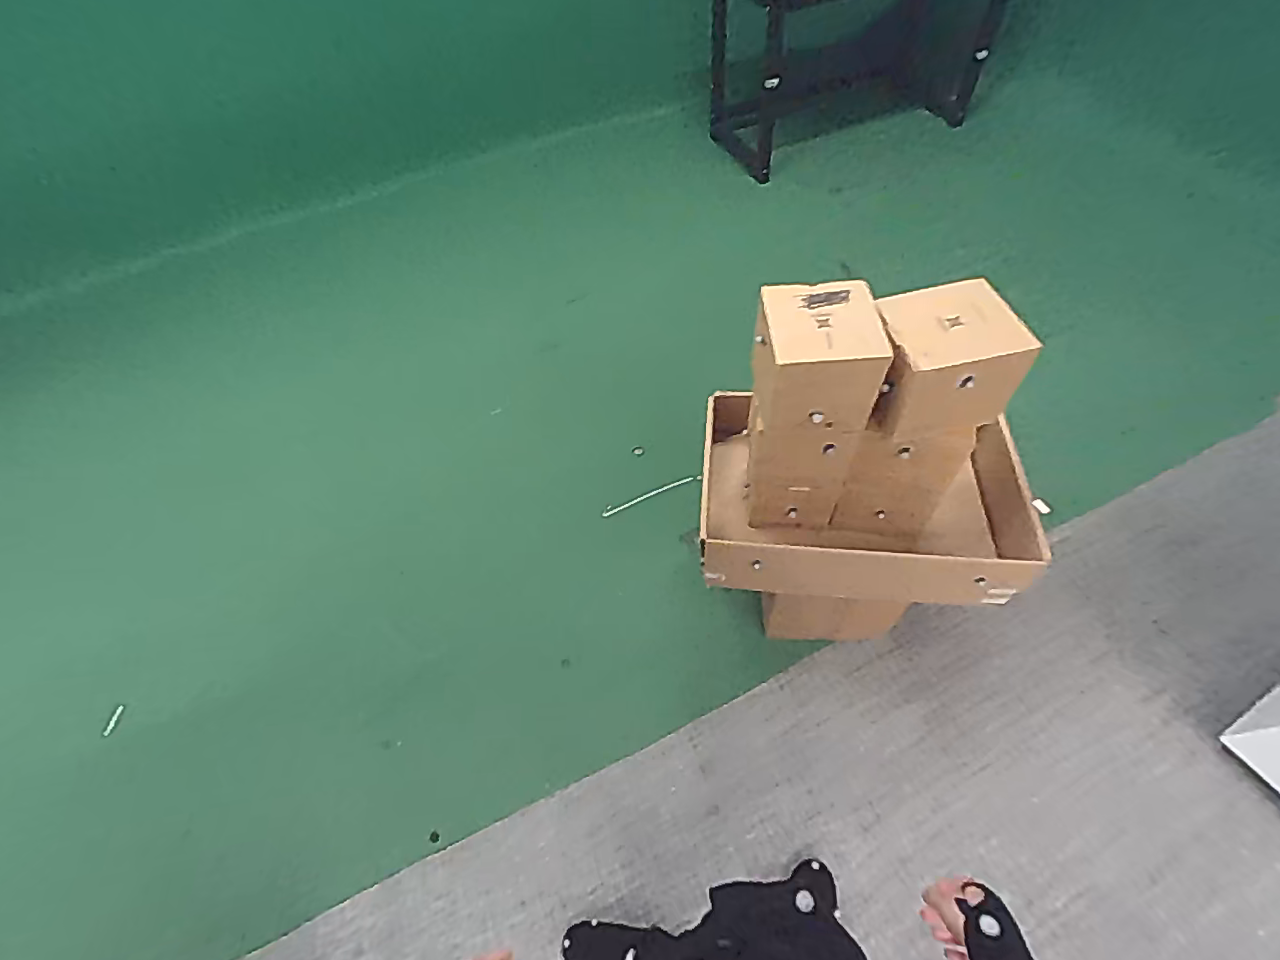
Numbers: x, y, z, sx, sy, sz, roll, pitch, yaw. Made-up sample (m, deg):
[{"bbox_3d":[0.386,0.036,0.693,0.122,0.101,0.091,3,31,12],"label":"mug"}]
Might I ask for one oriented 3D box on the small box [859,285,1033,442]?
[{"bbox_3d":[0.467,-0.179,0.866,0.179,0.176,0.168,-10,54,2],"label":"small box"}]
